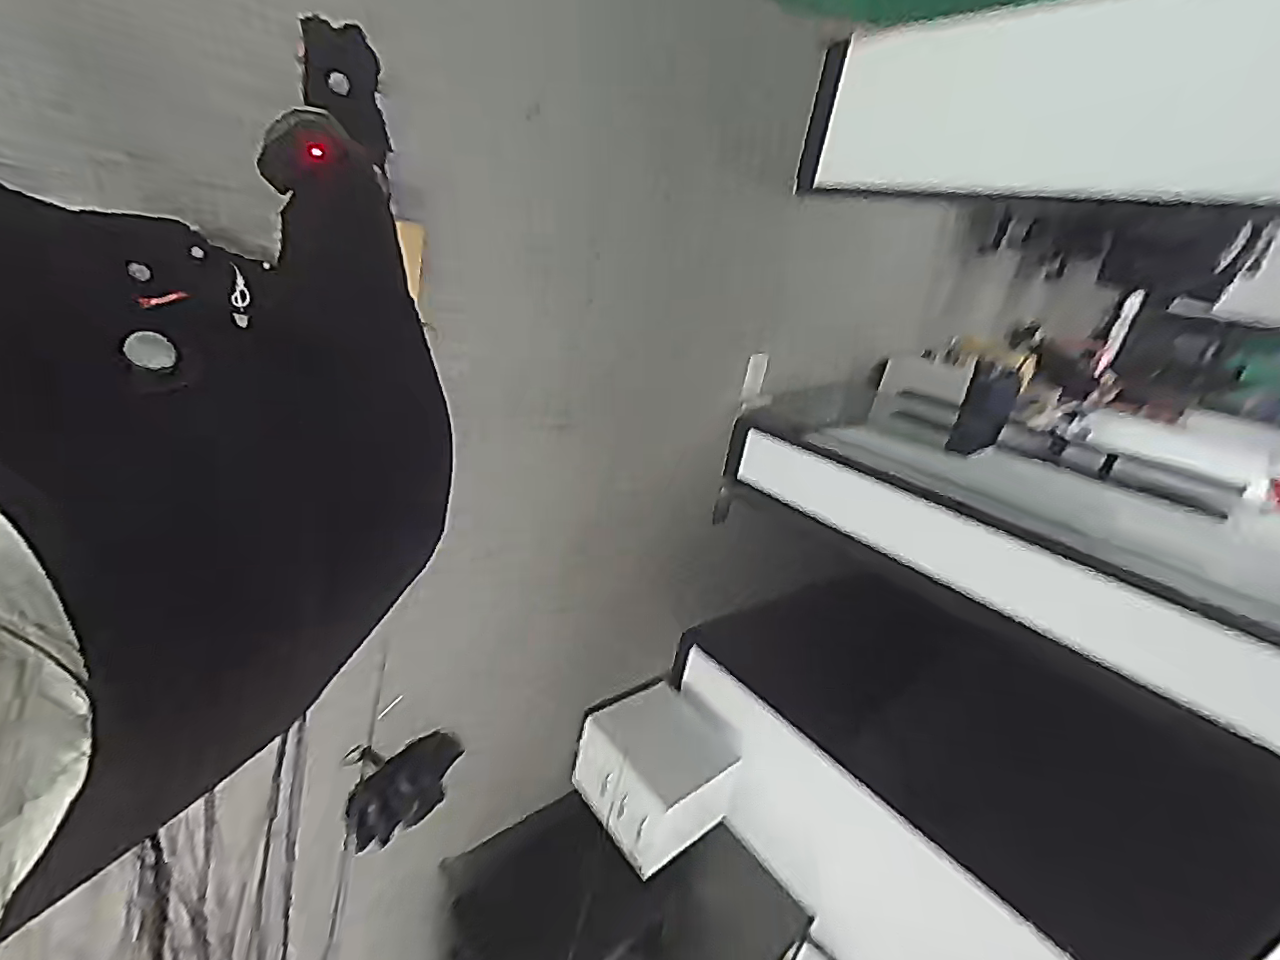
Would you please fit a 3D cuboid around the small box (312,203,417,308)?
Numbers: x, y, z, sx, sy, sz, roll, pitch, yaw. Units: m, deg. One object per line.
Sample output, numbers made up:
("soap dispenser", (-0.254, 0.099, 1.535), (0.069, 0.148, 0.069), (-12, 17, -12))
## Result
("small box", (-0.606, -0.491, 1.185), (0.168, 0.176, 0.179), (-8, 119, -42))
